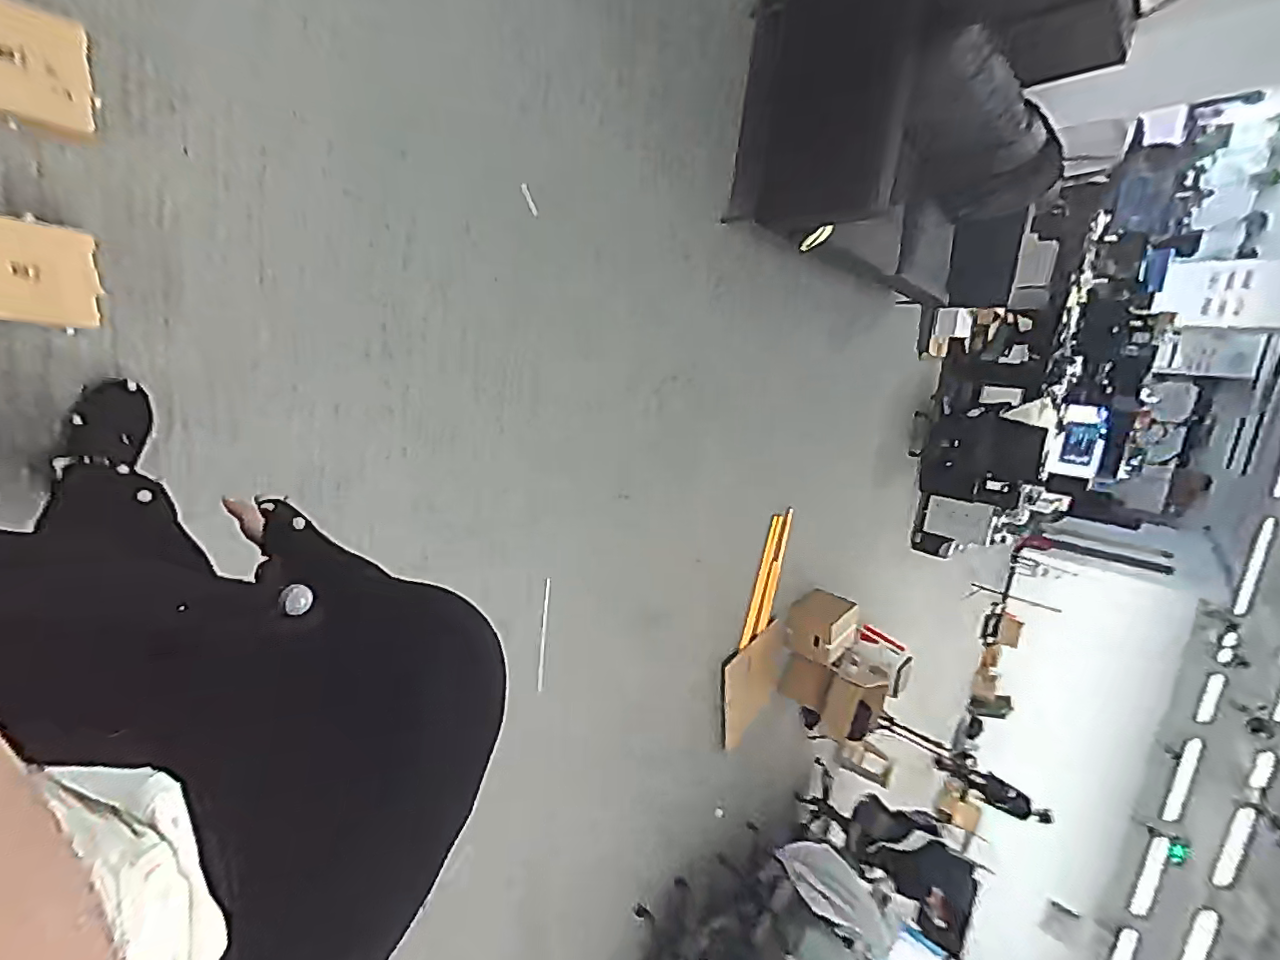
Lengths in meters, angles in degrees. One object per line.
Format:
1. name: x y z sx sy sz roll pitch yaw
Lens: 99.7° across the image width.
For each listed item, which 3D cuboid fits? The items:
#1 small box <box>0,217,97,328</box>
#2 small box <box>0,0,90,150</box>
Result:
1. small box: -1.096 -0.366 0.961 0.179 0.176 0.168 -6 106 -47
2. small box: -1.052 -0.683 0.907 0.179 0.176 0.168 -5 106 -46
